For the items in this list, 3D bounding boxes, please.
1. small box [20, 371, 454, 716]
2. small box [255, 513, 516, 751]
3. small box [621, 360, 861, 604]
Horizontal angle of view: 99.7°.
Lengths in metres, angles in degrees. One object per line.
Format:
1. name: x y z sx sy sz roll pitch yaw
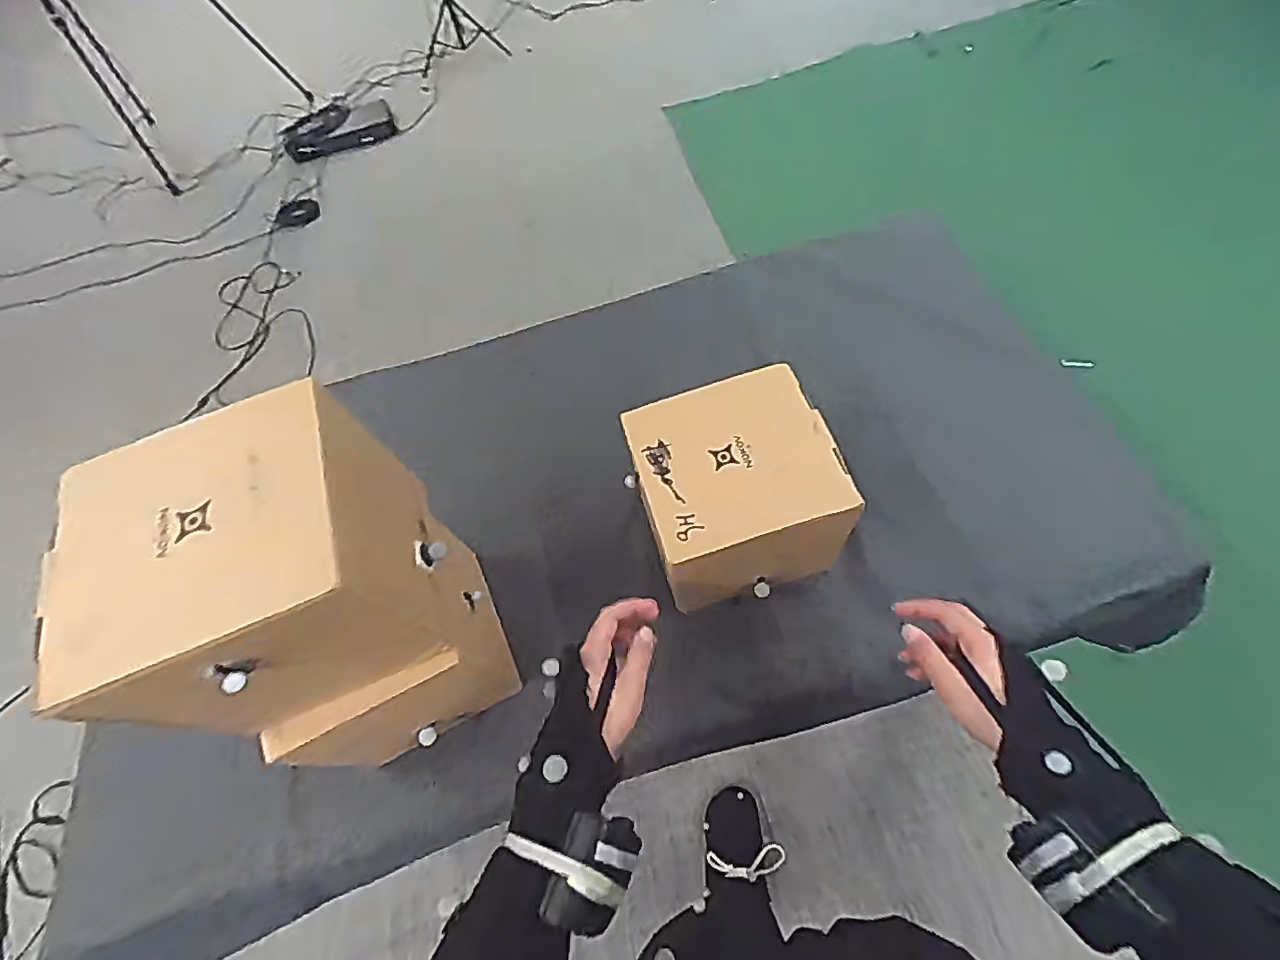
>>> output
1. small box: -0.265 0.058 0.397 0.179 0.176 0.168 -22 64 -5
2. small box: -0.245 0.146 0.533 0.168 0.176 0.179 -26 63 -6
3. small box: 0.091 0.010 0.557 0.179 0.176 0.168 -16 61 -2
